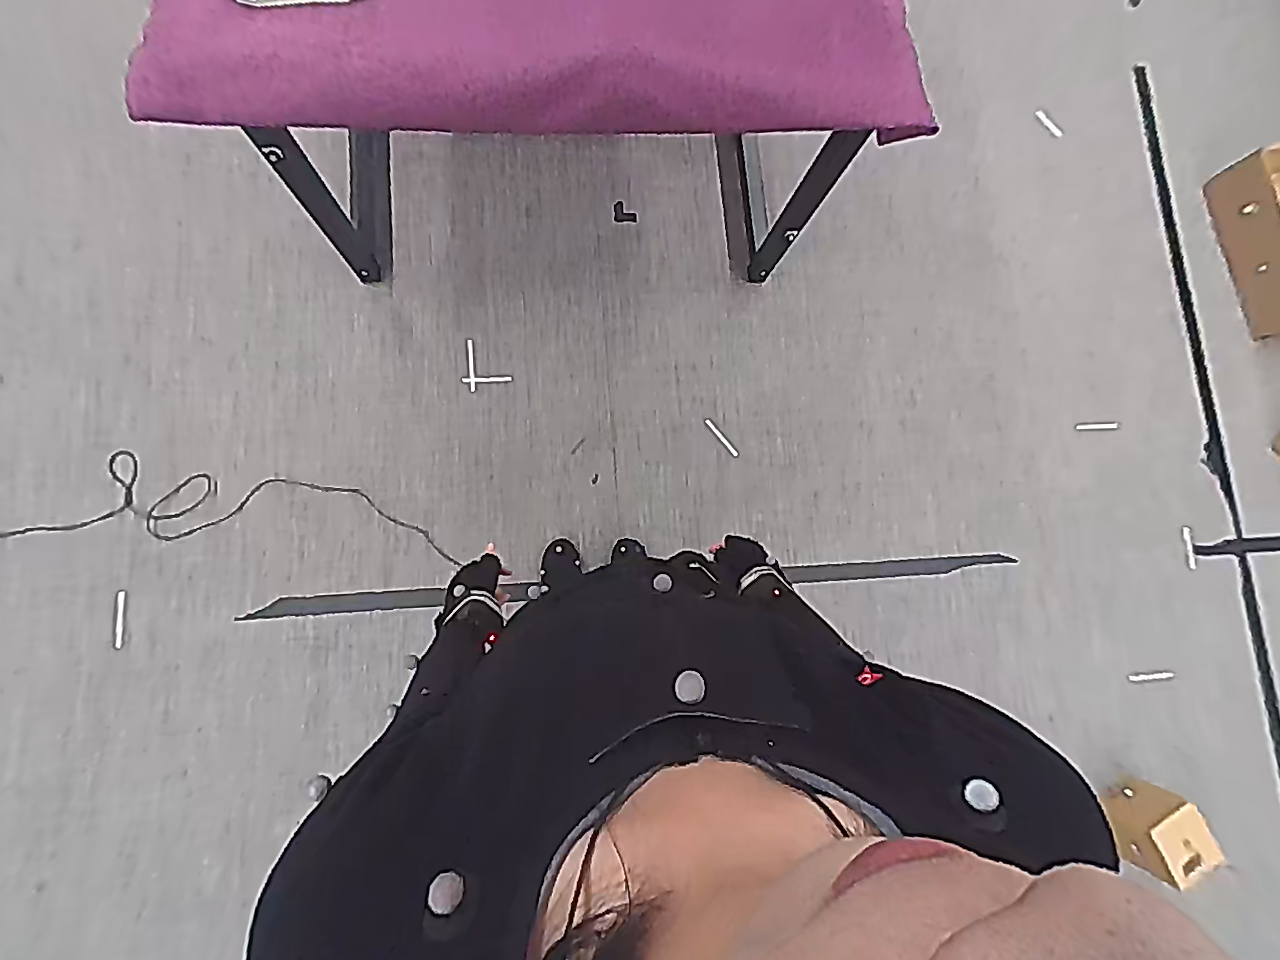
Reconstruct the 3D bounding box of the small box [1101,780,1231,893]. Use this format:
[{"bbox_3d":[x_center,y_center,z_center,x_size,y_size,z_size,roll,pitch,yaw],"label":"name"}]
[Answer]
[{"bbox_3d":[1.478,0.998,1.530,0.168,0.176,0.179,-26,86,-10],"label":"small box"}]
